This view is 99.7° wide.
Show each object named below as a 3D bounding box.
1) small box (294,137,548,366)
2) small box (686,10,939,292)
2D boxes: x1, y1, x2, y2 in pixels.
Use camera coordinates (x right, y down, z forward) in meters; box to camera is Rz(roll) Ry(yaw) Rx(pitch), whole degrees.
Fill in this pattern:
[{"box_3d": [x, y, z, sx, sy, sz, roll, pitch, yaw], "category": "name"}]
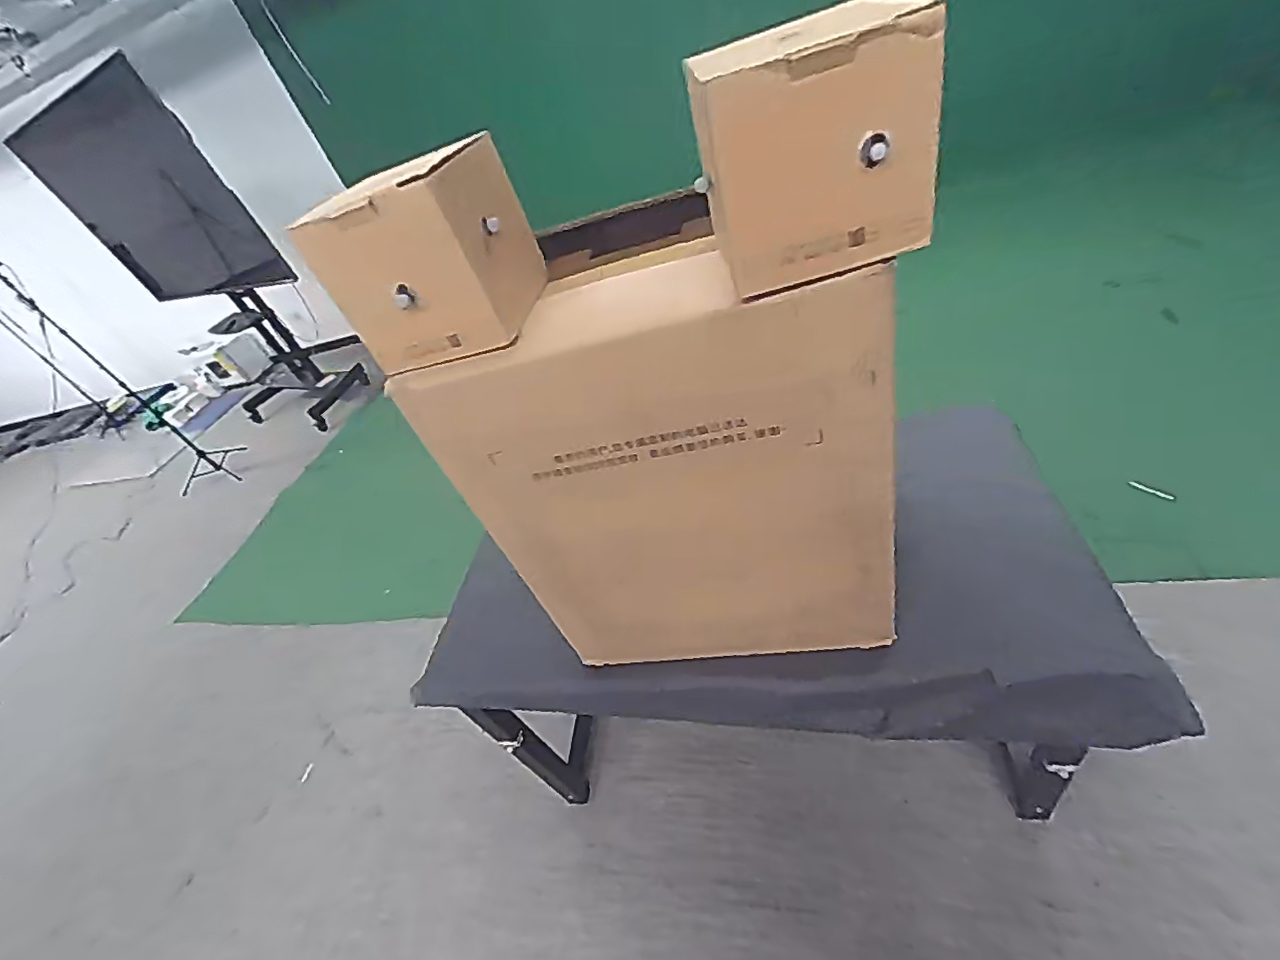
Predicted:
[{"box_3d": [-0.221, -0.243, 0.602, 0.168, 0.176, 0.179, -9, 42, 17], "category": "small box"}, {"box_3d": [0.144, -0.288, 0.488, 0.168, 0.176, 0.179, -12, 40, 8], "category": "small box"}]
